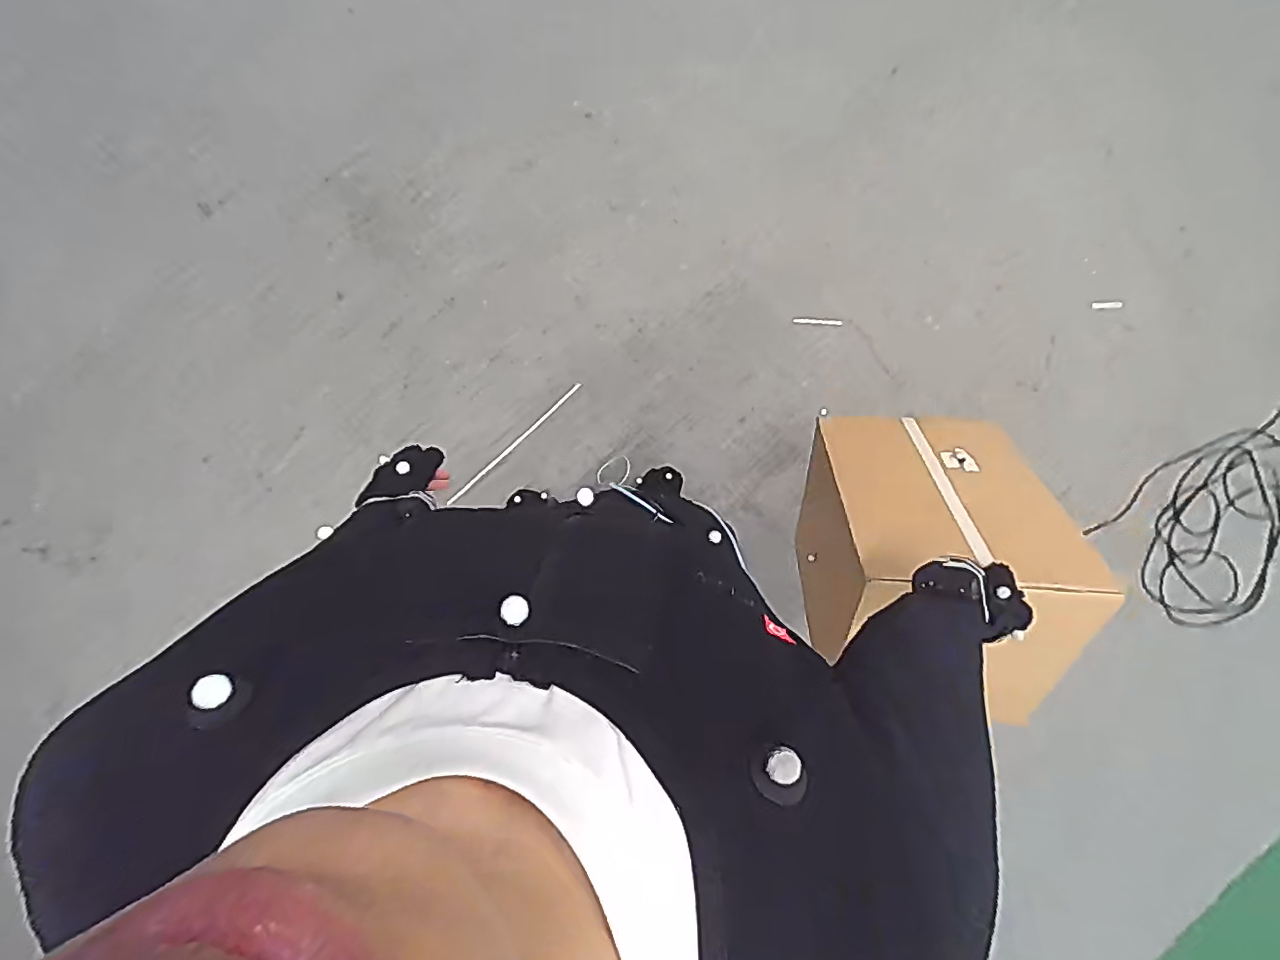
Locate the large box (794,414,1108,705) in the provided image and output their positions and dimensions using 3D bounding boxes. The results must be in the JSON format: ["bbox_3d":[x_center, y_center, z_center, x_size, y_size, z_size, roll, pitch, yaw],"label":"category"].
[{"bbox_3d":[0.466,0.124,0.941,0.320,0.408,0.320,4,128,5],"label":"large box"}]
